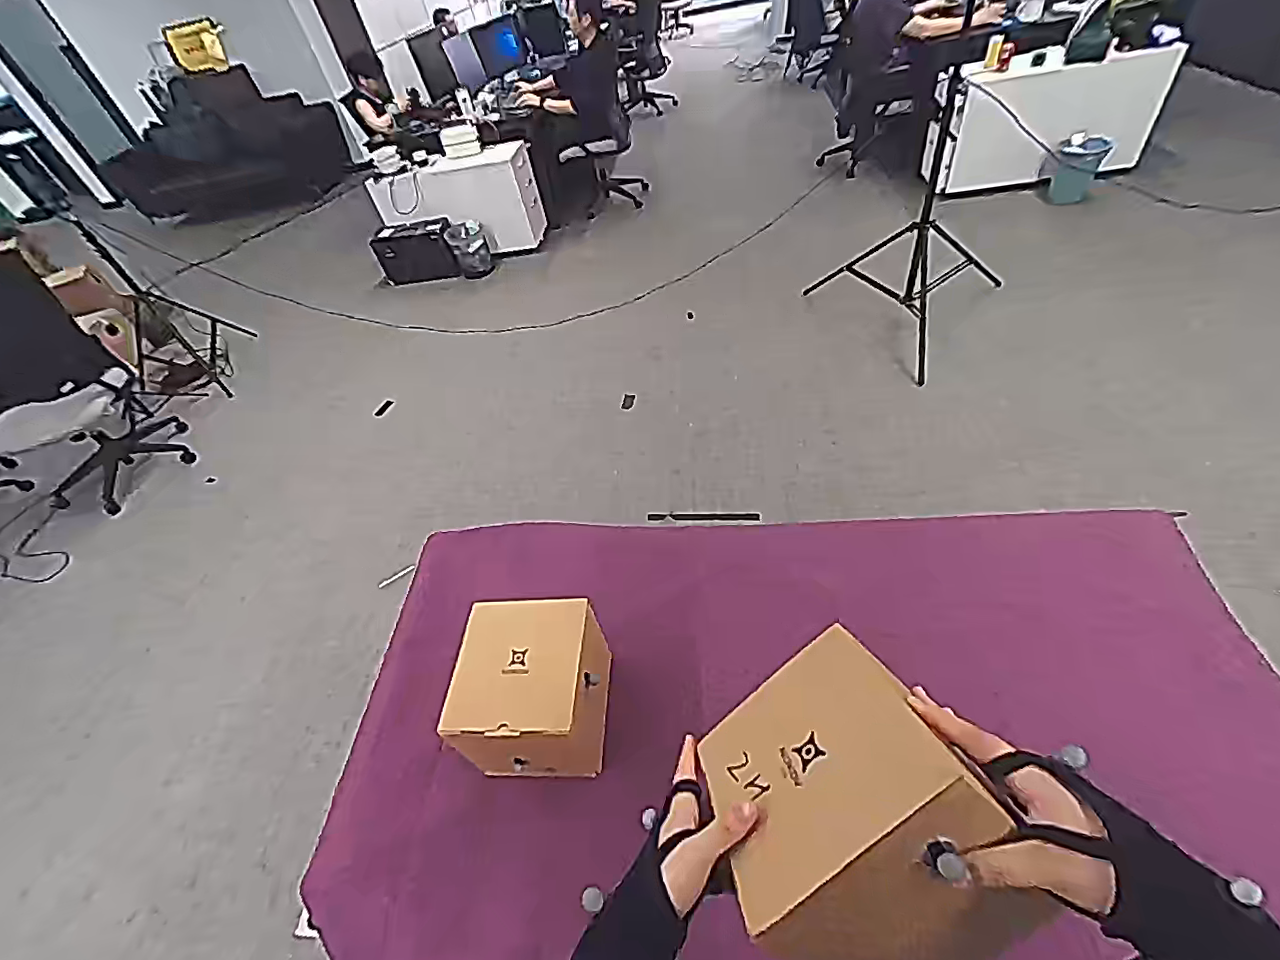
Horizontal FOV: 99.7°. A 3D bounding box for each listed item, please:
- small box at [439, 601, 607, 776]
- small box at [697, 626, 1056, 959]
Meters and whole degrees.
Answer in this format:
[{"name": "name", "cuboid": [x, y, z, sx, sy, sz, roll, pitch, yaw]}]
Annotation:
[{"name": "small box", "cuboid": [-0.143, 0.285, 0.740, 0.168, 0.176, 0.179, -4, 47, 8]}, {"name": "small box", "cuboid": [0.177, 0.260, 0.428, 0.179, 0.176, 0.168, -45, 17, 8]}]
